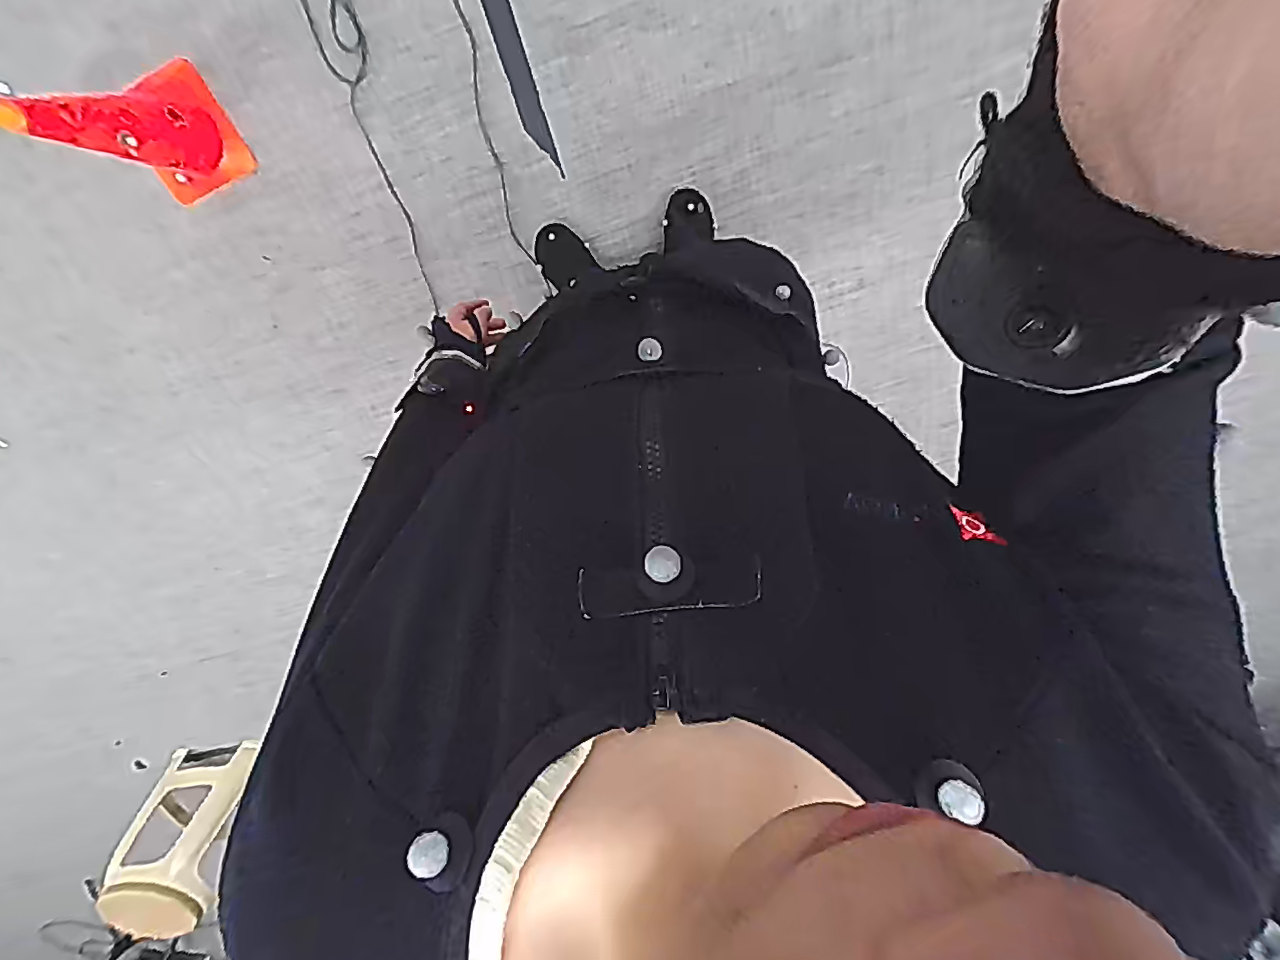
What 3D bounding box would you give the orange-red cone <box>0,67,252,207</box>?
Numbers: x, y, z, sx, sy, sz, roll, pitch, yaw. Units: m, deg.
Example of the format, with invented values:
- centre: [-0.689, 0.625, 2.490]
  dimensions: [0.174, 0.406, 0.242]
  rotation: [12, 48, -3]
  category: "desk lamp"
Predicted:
- centre: [-0.897, -0.594, 0.920]
  dimensions: [0.199, 0.360, 0.198]
  rotation: [-21, 117, 8]
  category: "orange-red cone"
